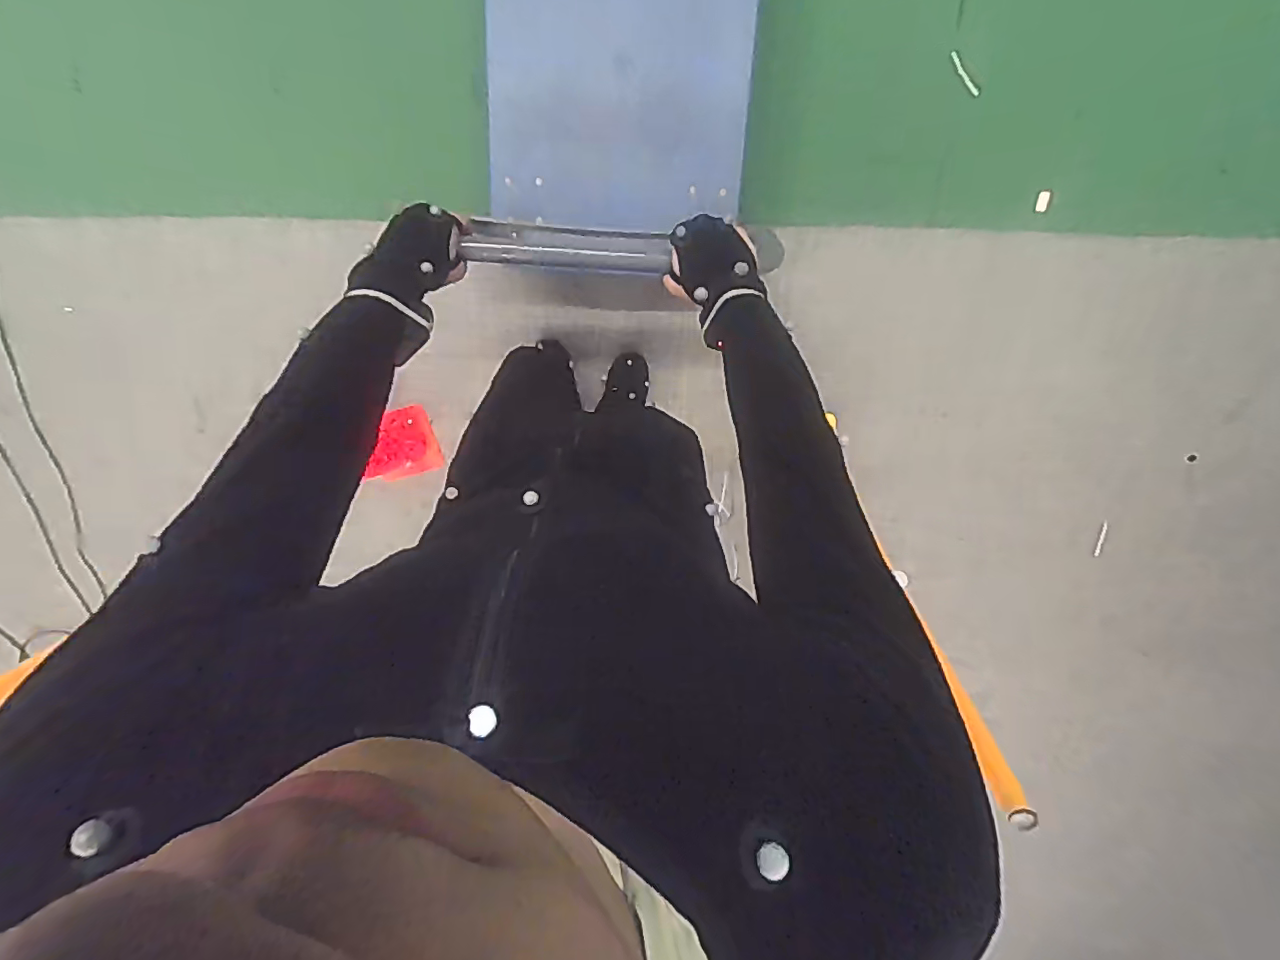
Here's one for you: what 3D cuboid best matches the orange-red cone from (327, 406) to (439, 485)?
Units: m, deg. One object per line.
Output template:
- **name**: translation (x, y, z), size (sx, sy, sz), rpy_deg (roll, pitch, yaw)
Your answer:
- **orange-red cone**: translation (-0.715, -0.057, 1.438), size (0.199, 0.360, 0.198), rpy_deg (-12, 107, 6)
